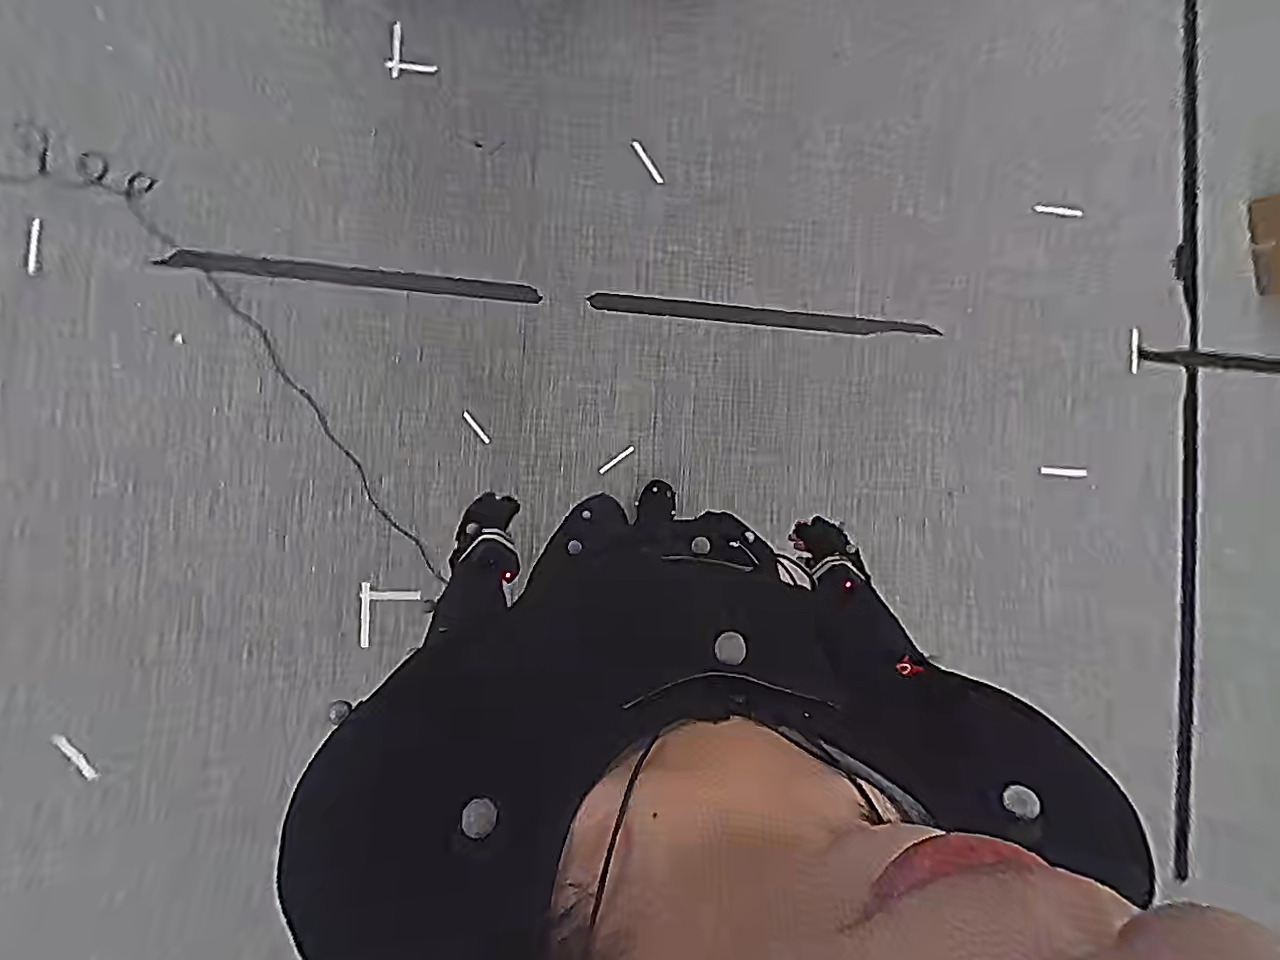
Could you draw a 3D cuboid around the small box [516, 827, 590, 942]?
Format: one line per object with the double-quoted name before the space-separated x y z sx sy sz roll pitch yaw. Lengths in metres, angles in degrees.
"small box" -0.220 1.048 1.409 0.168 0.176 0.179 5 87 -5
